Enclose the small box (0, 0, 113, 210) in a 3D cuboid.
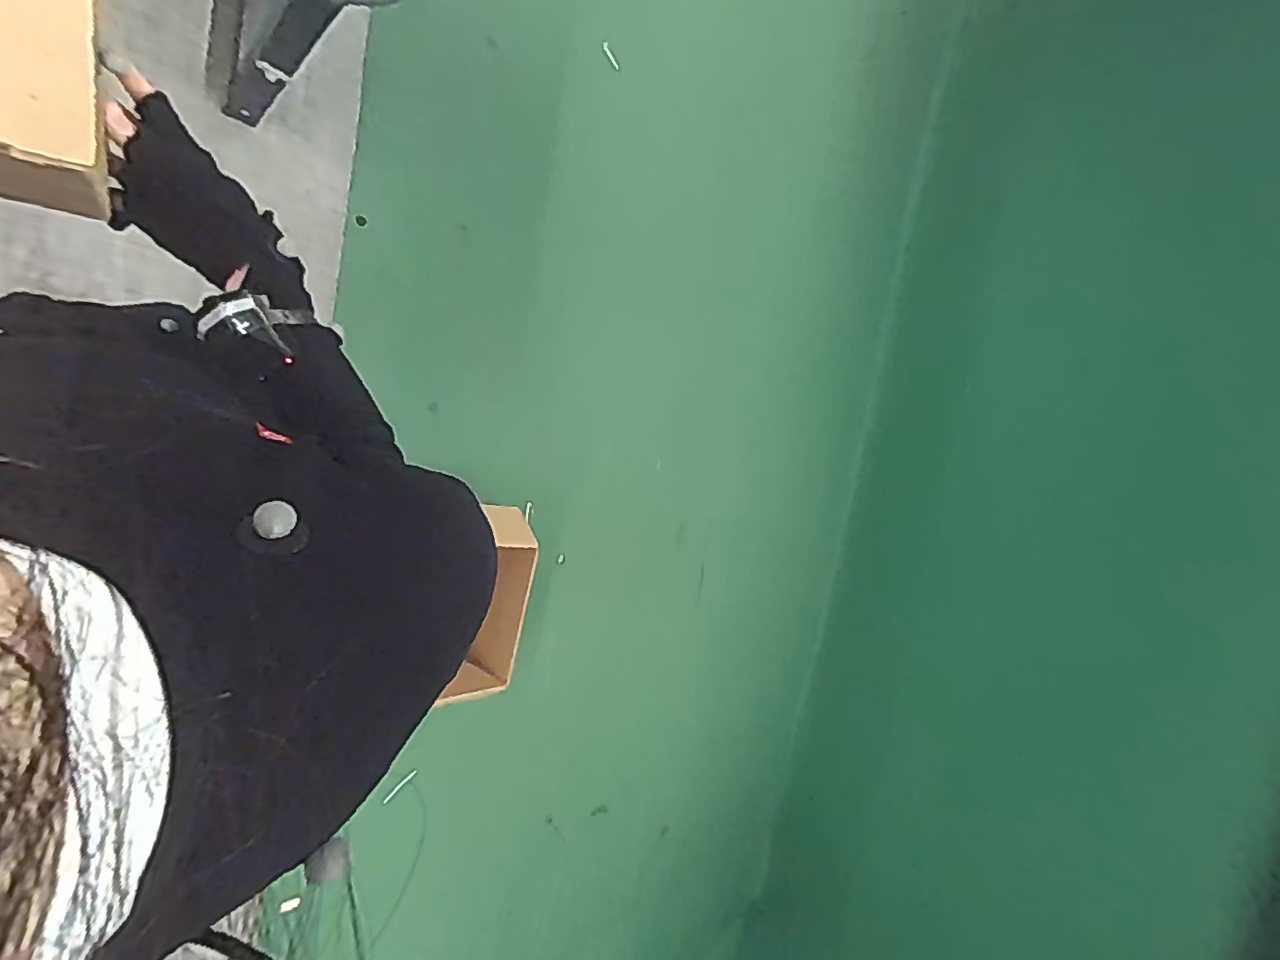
[{"bbox_3d":[-0.403,-0.269,0.292,0.168,0.176,0.179,-1,101,-44],"label":"small box"}]
